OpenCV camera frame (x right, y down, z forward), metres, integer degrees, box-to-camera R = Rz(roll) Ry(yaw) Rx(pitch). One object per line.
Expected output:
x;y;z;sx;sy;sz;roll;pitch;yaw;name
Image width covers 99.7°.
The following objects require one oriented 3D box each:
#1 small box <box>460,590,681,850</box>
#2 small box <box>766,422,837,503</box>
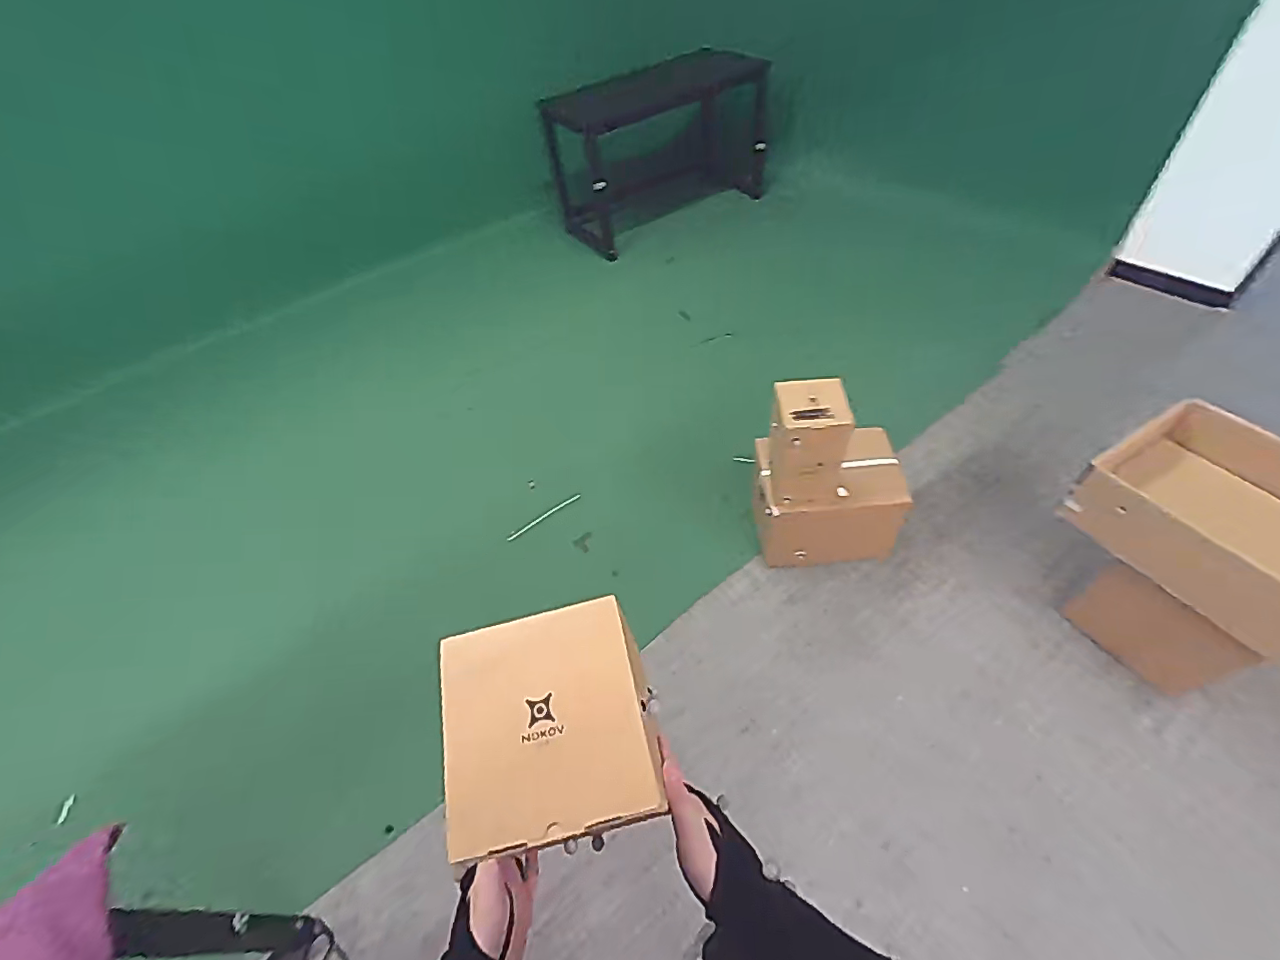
-0.061;0.230;0.518;0.168;0.176;0.179;-13;59;-2;small box
0.461;-0.046;1.567;0.168;0.176;0.179;-2;50;5;small box
